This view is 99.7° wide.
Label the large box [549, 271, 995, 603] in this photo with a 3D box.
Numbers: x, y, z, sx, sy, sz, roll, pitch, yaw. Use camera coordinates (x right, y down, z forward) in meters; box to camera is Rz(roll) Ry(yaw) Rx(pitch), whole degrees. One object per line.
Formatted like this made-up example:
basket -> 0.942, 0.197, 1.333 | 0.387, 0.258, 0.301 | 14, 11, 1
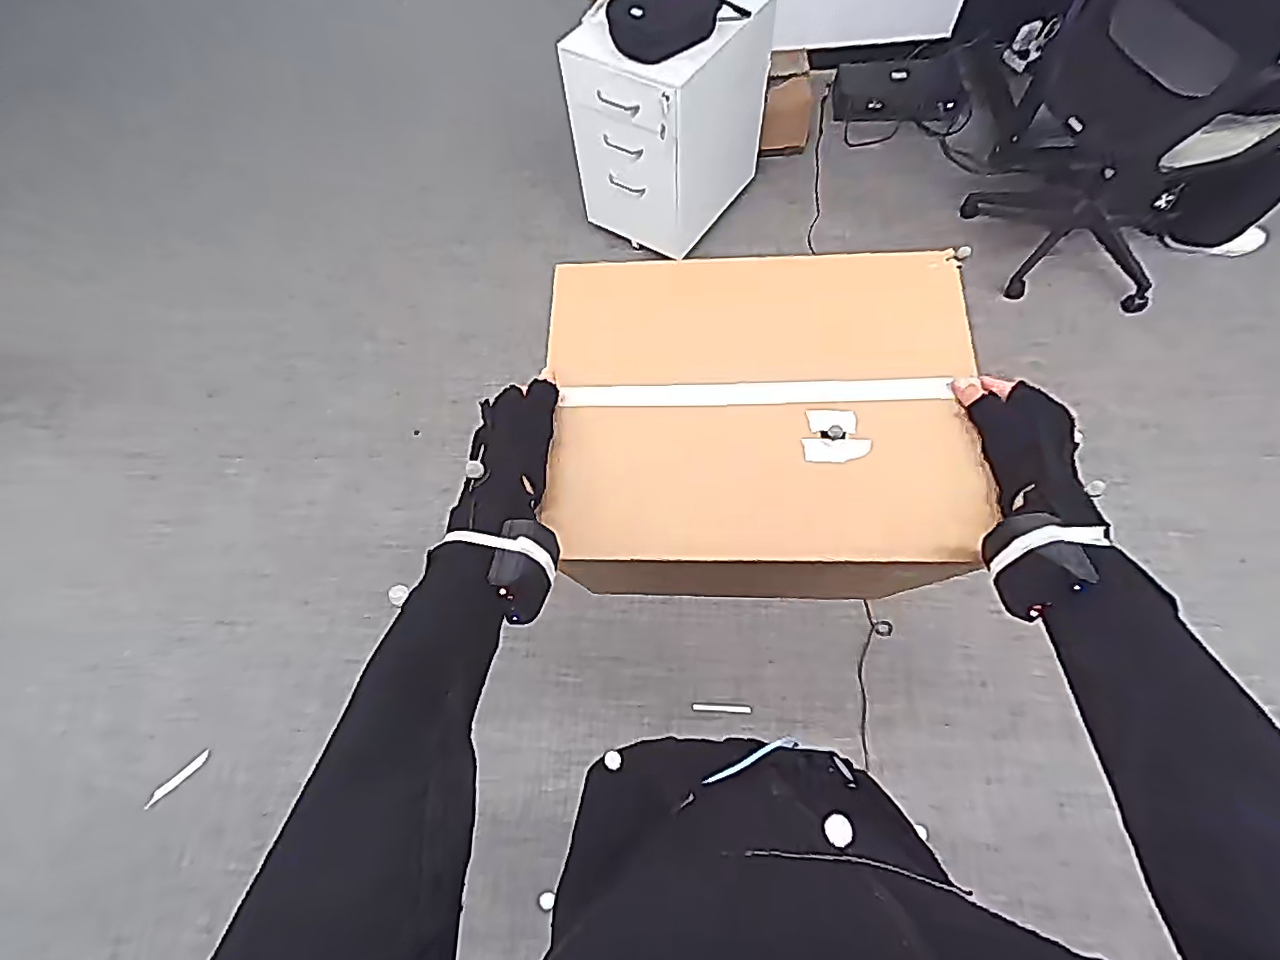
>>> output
large box -> 0.122, -0.022, 0.668 | 0.408, 0.320, 0.320 | -1, 72, 4
